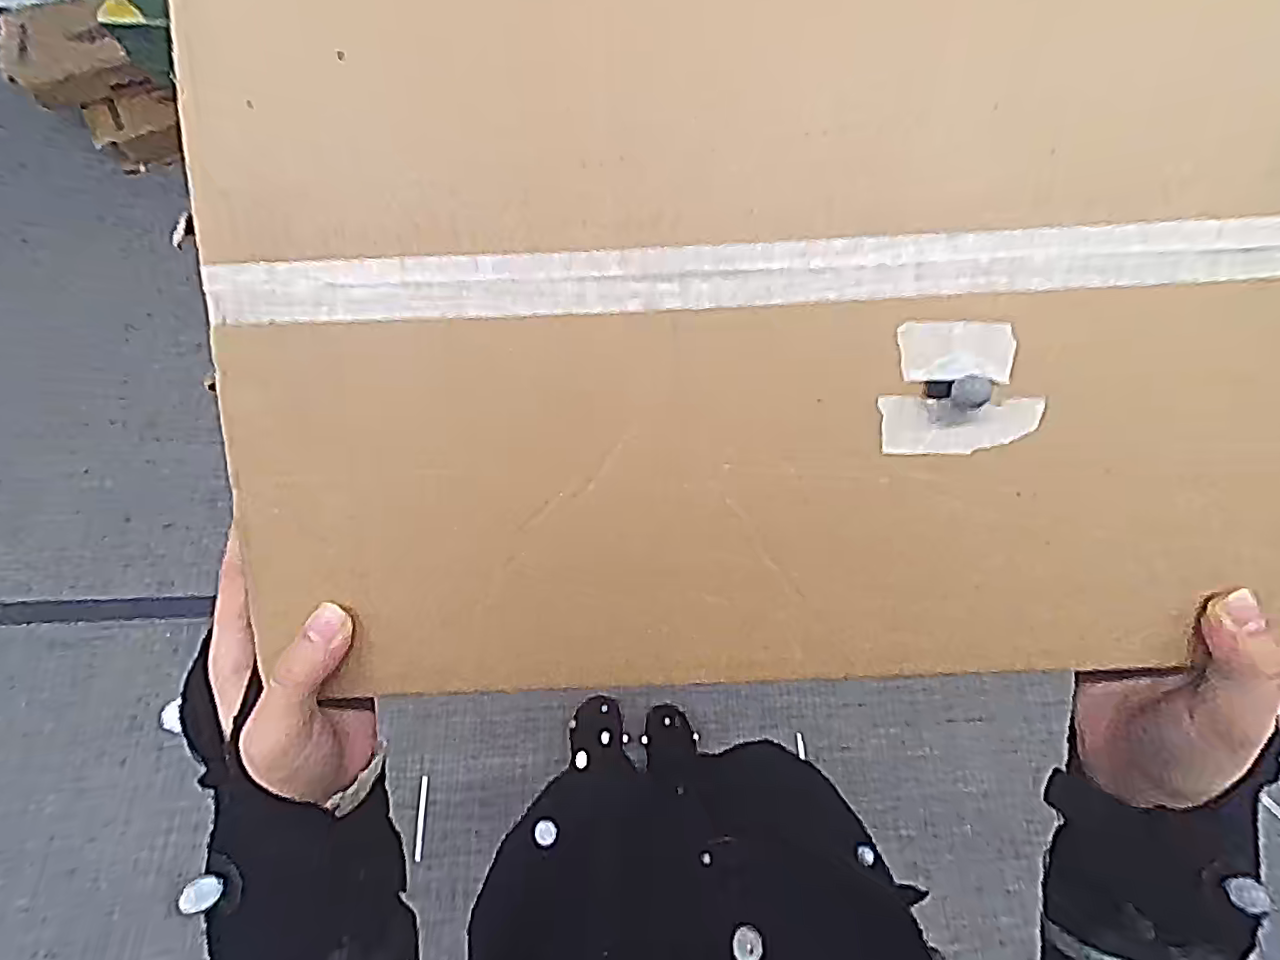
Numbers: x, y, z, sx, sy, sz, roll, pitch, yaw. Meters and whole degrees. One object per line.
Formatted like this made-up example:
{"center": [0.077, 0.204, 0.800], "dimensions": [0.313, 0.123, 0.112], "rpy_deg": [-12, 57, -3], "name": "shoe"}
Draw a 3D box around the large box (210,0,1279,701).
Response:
{"center": [0.044, -0.086, 0.357], "dimensions": [0.408, 0.320, 0.320], "rpy_deg": [-3, 97, -1], "name": "large box"}
